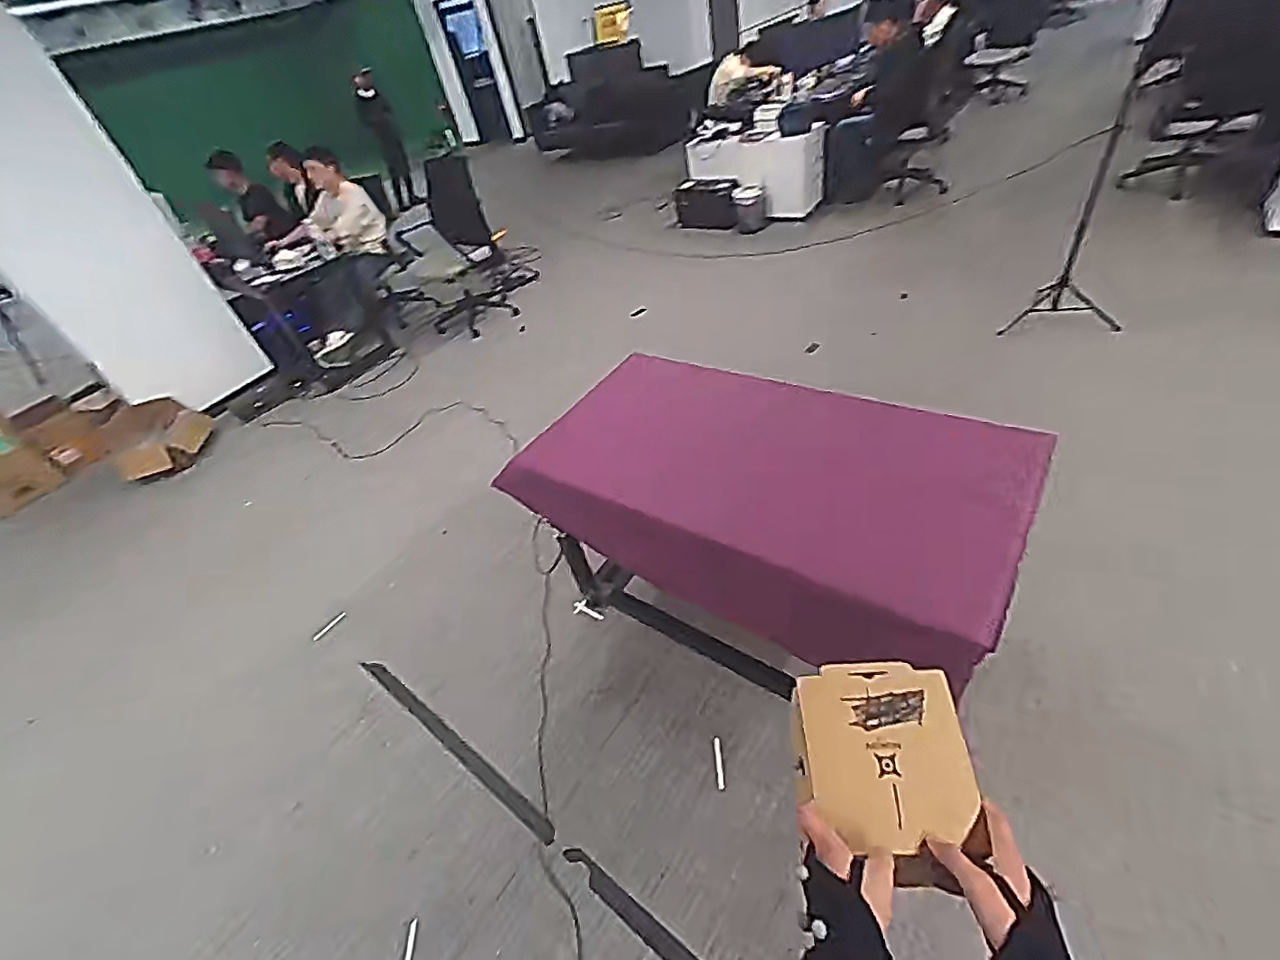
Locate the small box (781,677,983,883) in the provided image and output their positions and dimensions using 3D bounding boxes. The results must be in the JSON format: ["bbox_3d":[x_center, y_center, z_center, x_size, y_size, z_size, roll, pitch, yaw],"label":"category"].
[{"bbox_3d":[0.269,0.362,0.653,0.168,0.176,0.179,-6,44,6],"label":"small box"}]
